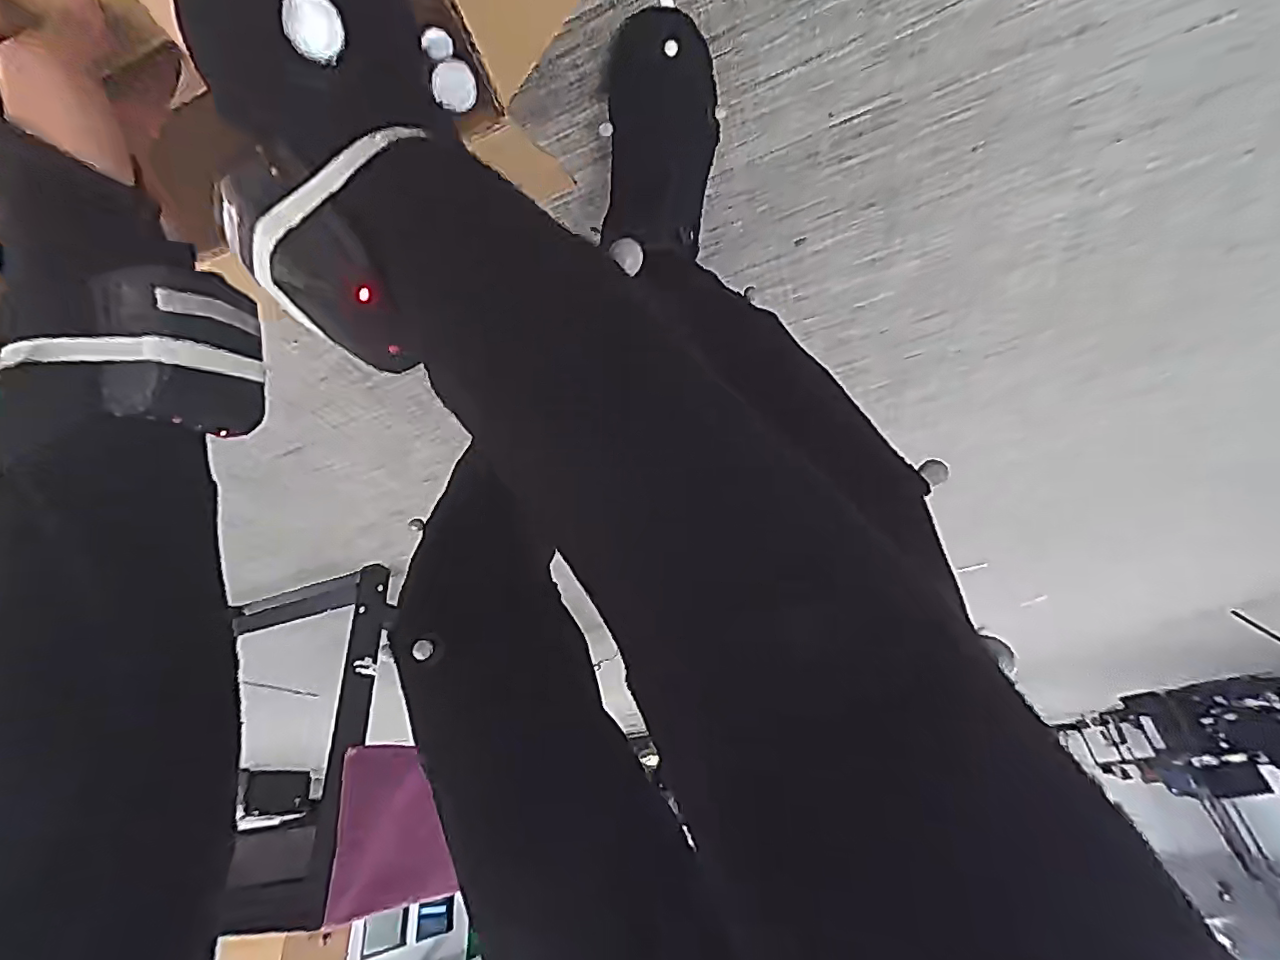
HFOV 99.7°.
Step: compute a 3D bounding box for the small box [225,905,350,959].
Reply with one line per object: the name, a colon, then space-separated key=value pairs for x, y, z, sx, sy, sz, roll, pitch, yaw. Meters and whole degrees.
small box: x=-0.740 y=1.008 z=1.129 sx=0.179 sy=0.176 sz=0.168 roll=-17 pitch=148 yaw=17
